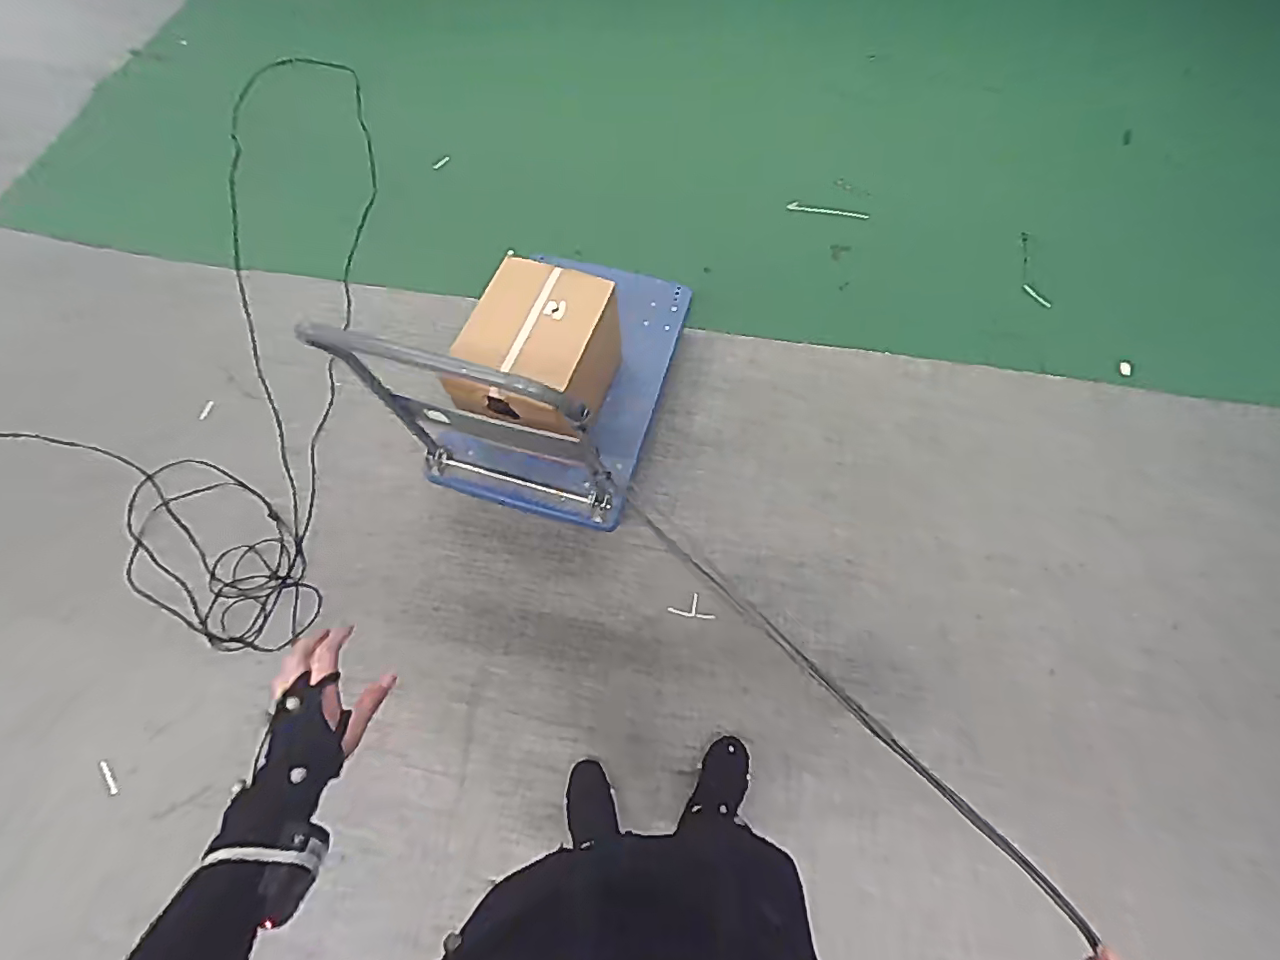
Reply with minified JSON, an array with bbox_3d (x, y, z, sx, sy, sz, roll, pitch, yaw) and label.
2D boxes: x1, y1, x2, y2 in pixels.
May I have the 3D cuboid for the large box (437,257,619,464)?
[{"bbox_3d":[-0.271,-0.311,1.458,0.320,0.320,0.408,18,67,8],"label":"large box"}]
